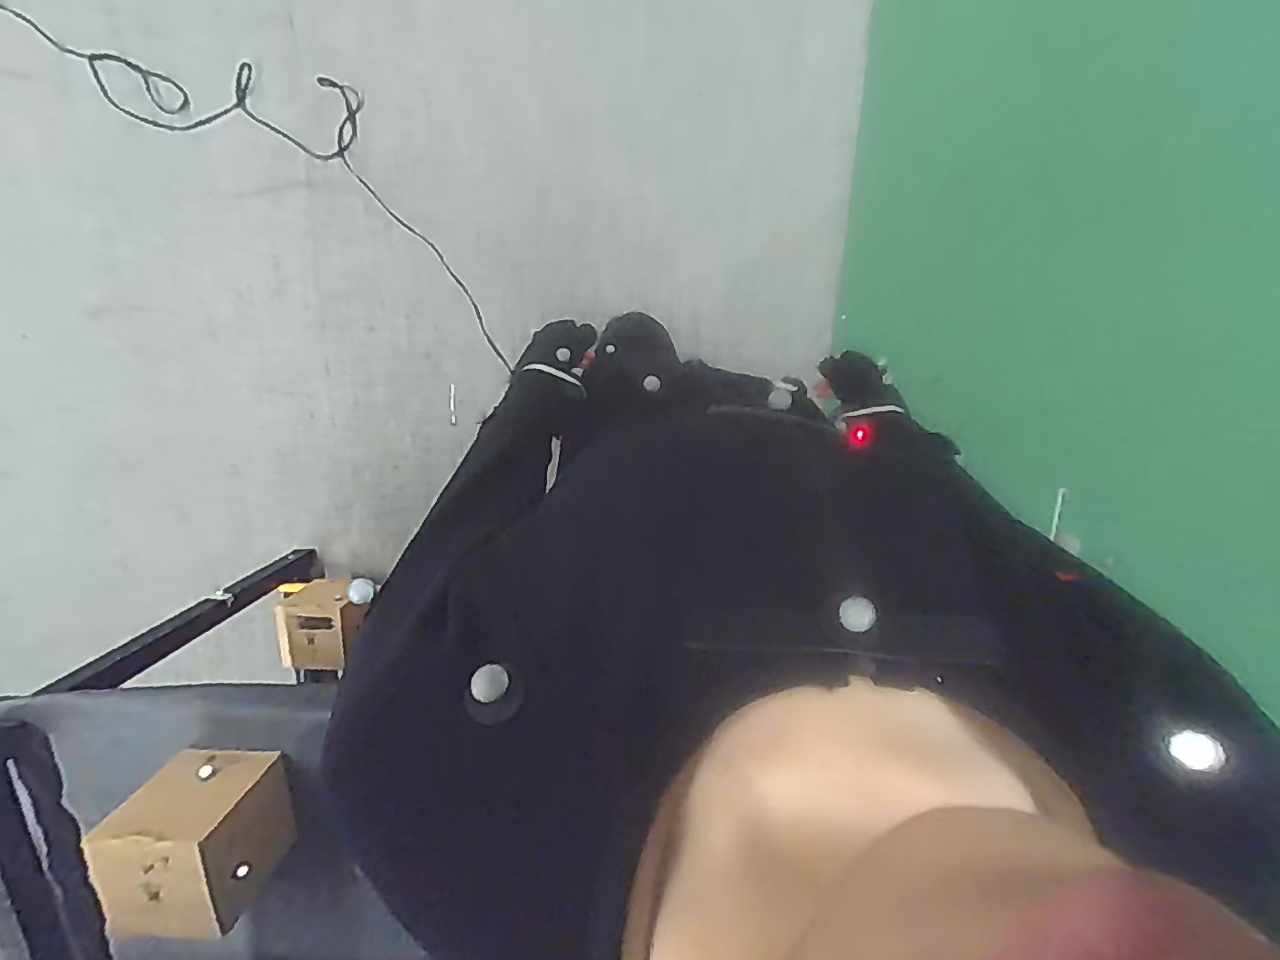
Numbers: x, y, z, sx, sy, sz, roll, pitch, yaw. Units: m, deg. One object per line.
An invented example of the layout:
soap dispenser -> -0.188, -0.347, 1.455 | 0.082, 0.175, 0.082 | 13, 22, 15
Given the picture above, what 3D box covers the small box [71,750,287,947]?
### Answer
small box -> -0.661, 0.537, 0.802 | 0.168, 0.176, 0.179 | 1, 104, 1
